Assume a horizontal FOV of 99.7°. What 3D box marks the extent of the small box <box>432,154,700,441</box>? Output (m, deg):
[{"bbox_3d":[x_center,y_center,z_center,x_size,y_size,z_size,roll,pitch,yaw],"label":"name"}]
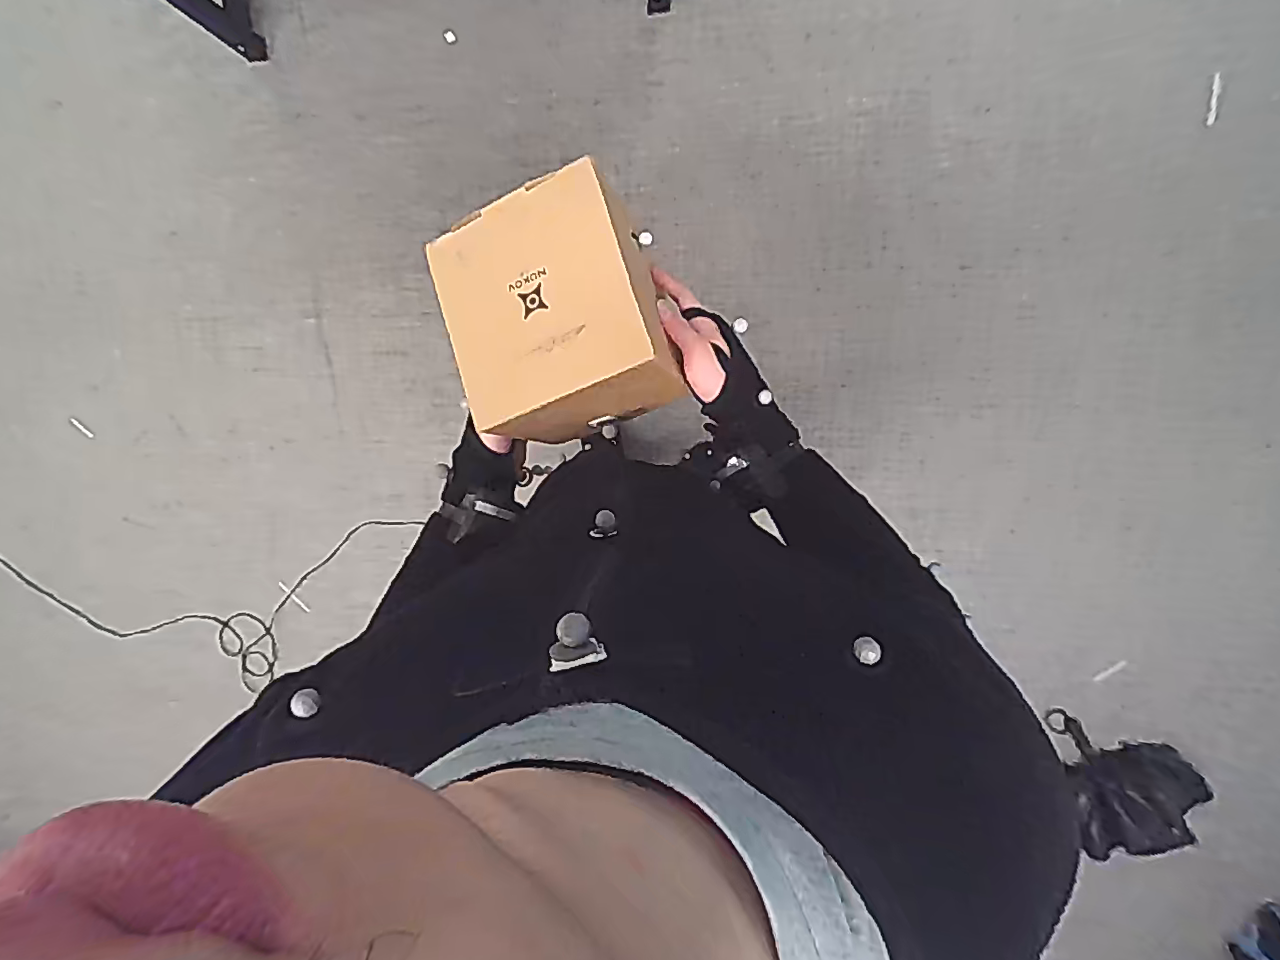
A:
[{"bbox_3d":[-0.057,-0.148,0.509,0.168,0.176,0.179,-20,84,17],"label":"small box"}]
